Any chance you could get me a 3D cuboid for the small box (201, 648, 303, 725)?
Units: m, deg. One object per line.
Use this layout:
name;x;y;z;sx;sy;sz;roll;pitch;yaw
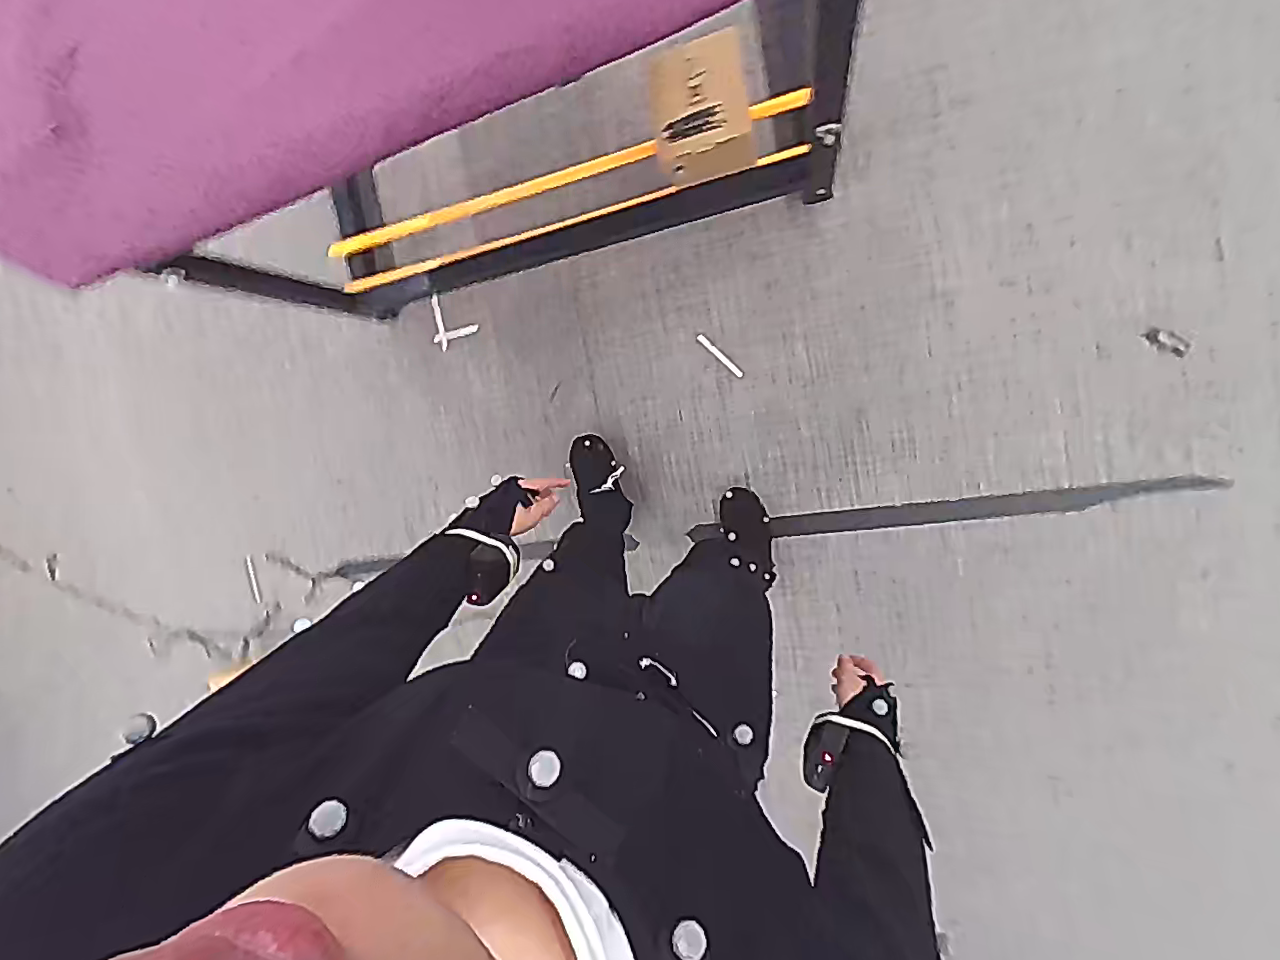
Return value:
small box;-1.189;0.631;1.666;0.179;0.176;0.168;-9;95;15
